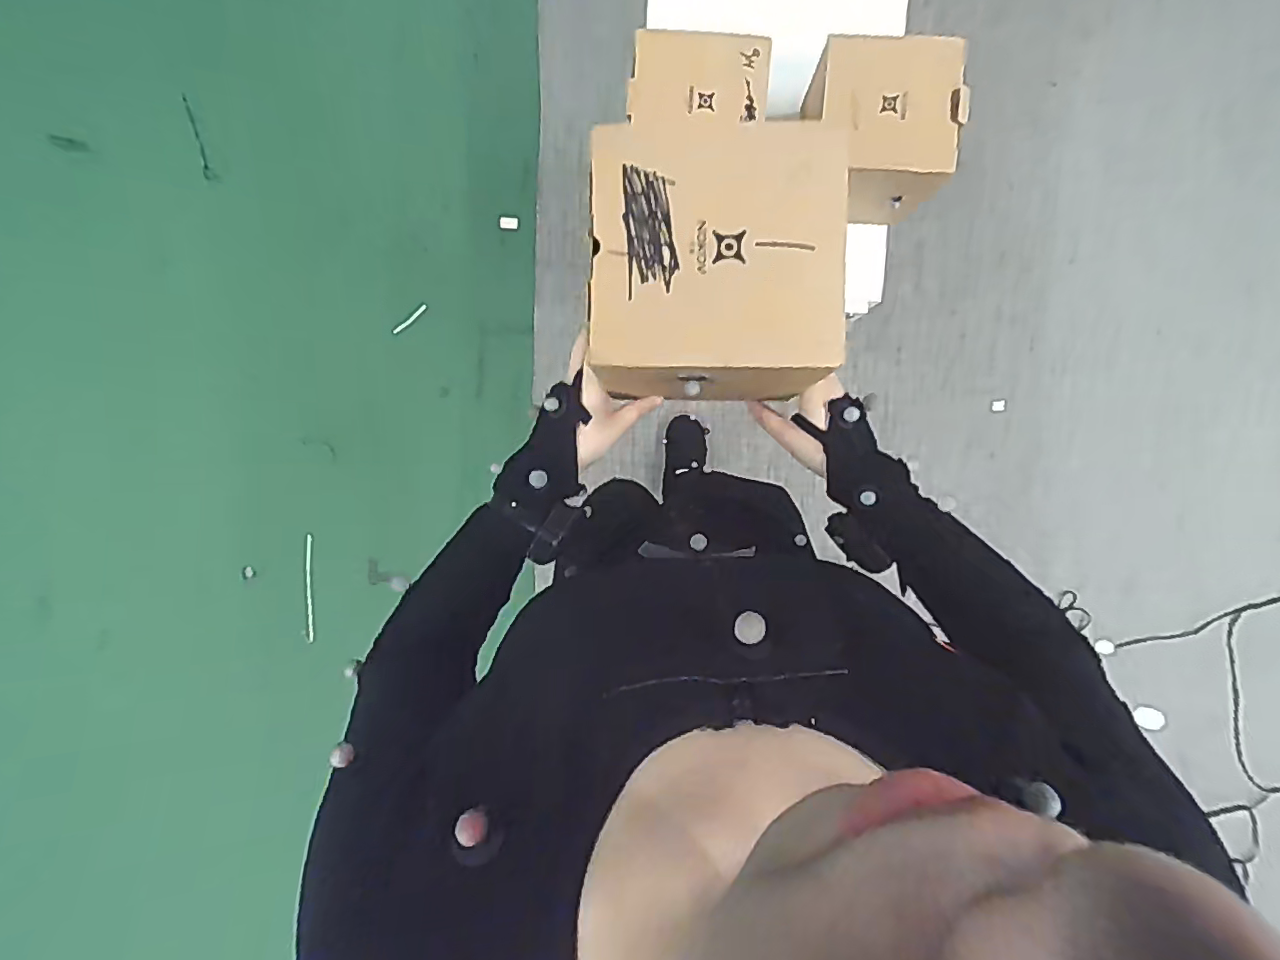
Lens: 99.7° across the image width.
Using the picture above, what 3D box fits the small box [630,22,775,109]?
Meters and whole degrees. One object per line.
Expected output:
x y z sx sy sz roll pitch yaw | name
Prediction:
0.078 -0.492 0.759 0.179 0.176 0.168 4 96 1 | small box

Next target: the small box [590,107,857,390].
0.058 -0.167 0.442 0.179 0.176 0.168 1 92 2 | small box

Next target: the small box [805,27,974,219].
0.323 -0.481 0.755 0.179 0.176 0.168 5 95 3 | small box
